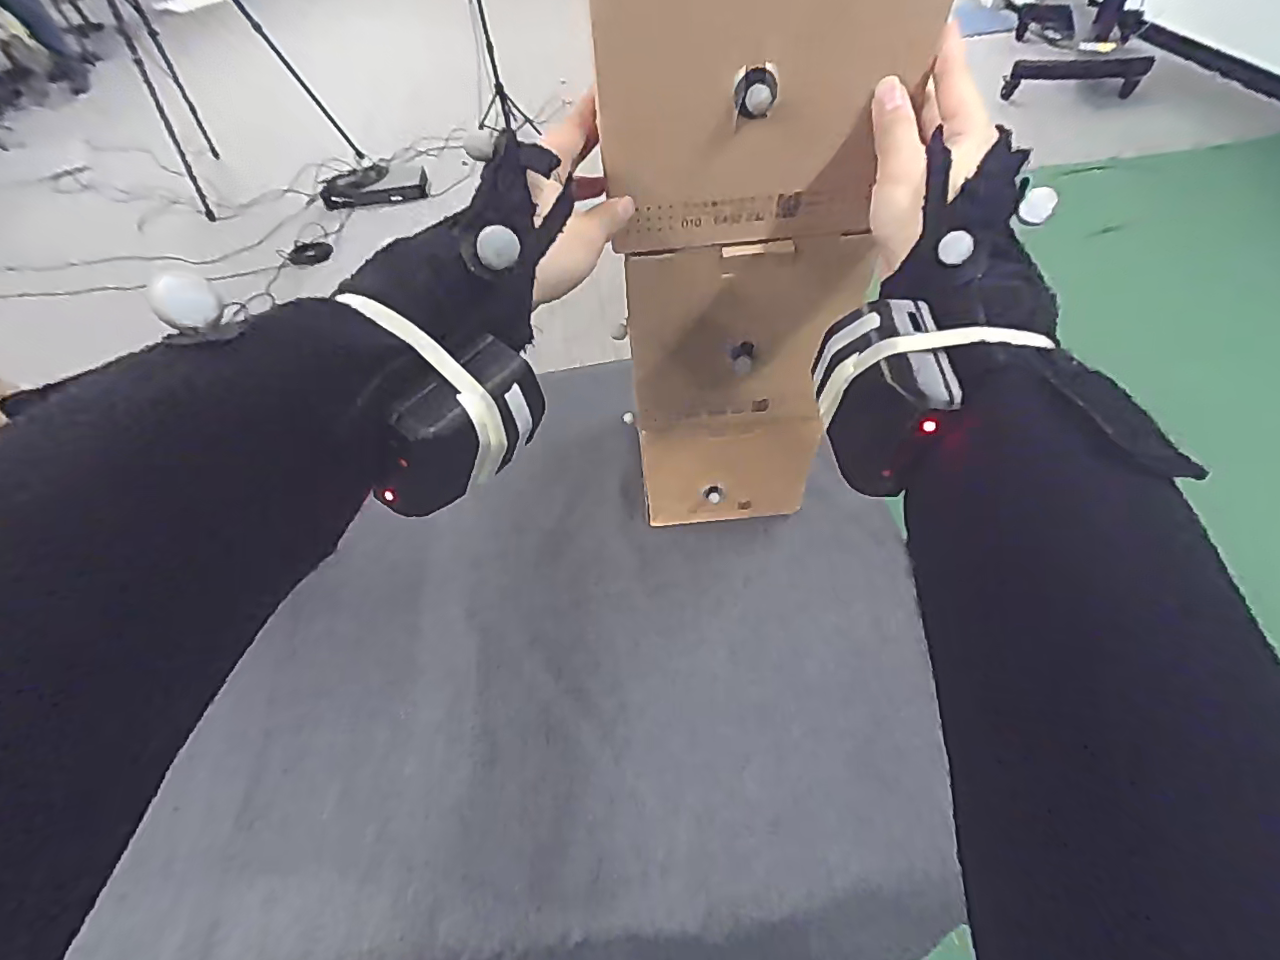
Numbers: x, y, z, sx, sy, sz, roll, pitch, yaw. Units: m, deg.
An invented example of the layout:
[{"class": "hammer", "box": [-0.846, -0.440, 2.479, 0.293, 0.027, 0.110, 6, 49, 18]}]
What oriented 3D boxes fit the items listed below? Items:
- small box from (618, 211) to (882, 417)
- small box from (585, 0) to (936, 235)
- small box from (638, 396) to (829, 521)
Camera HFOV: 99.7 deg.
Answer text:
[{"class": "small box", "box": [0.070, -0.166, 0.446, 0.168, 0.176, 0.179, -5, 56, 0]}, {"class": "small box", "box": [0.053, -0.260, 0.311, 0.168, 0.176, 0.179, -6, 55, -1]}, {"class": "small box", "box": [0.082, -0.076, 0.582, 0.168, 0.176, 0.179, -6, 55, 0]}]
